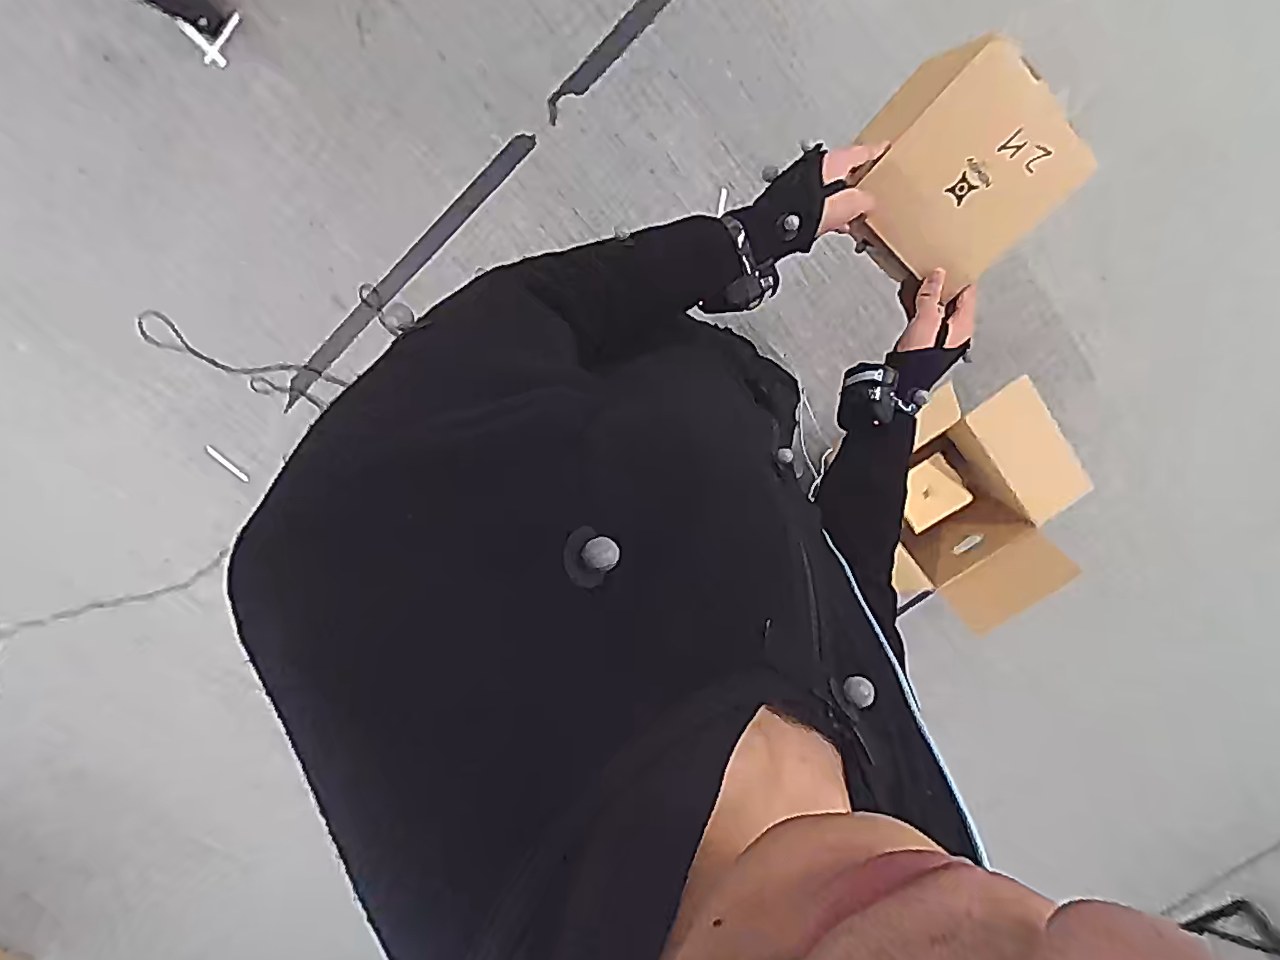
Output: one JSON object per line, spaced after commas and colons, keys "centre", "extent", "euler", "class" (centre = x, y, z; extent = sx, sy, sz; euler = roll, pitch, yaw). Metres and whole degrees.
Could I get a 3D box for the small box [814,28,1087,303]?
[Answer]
{"centre": [0.313, -0.329, 0.593], "extent": [0.168, 0.176, 0.179], "euler": [36, 115, -17], "class": "small box"}
